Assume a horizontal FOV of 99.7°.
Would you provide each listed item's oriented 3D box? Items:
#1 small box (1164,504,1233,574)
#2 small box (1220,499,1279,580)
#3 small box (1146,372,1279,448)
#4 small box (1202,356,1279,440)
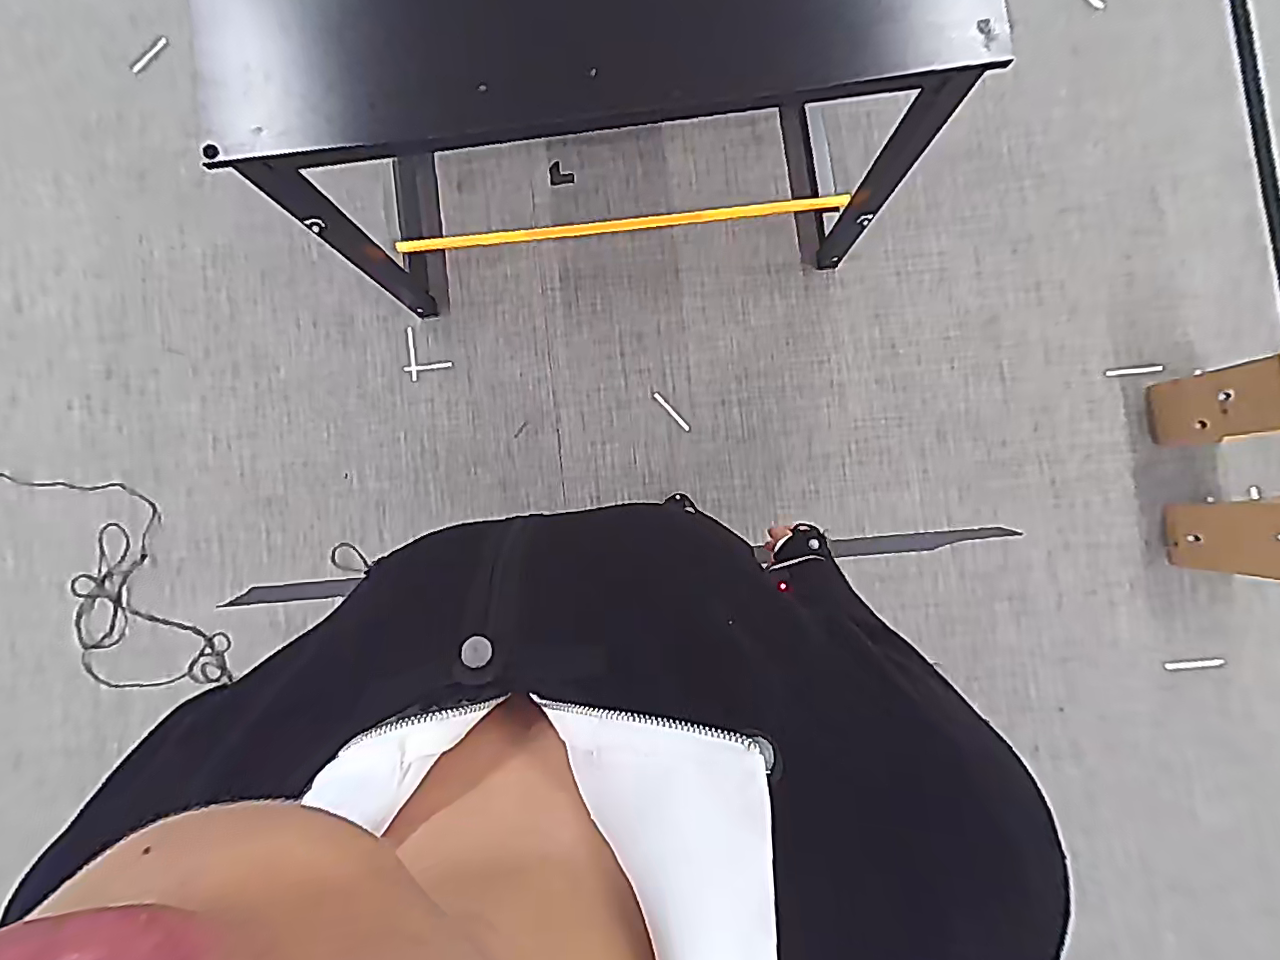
[{"bbox_3d":[1.498,0.147,1.383,0.179,0.176,0.168,-4,88,2],"label":"small box"},{"bbox_3d":[1.477,0.132,1.218,0.168,0.176,0.179,-6,88,1],"label":"small box"},{"bbox_3d":[1.470,-0.180,1.394,0.168,0.176,0.179,-8,87,1],"label":"small box"},{"bbox_3d":[1.461,-0.189,1.232,0.179,0.176,0.168,-7,86,2],"label":"small box"}]
